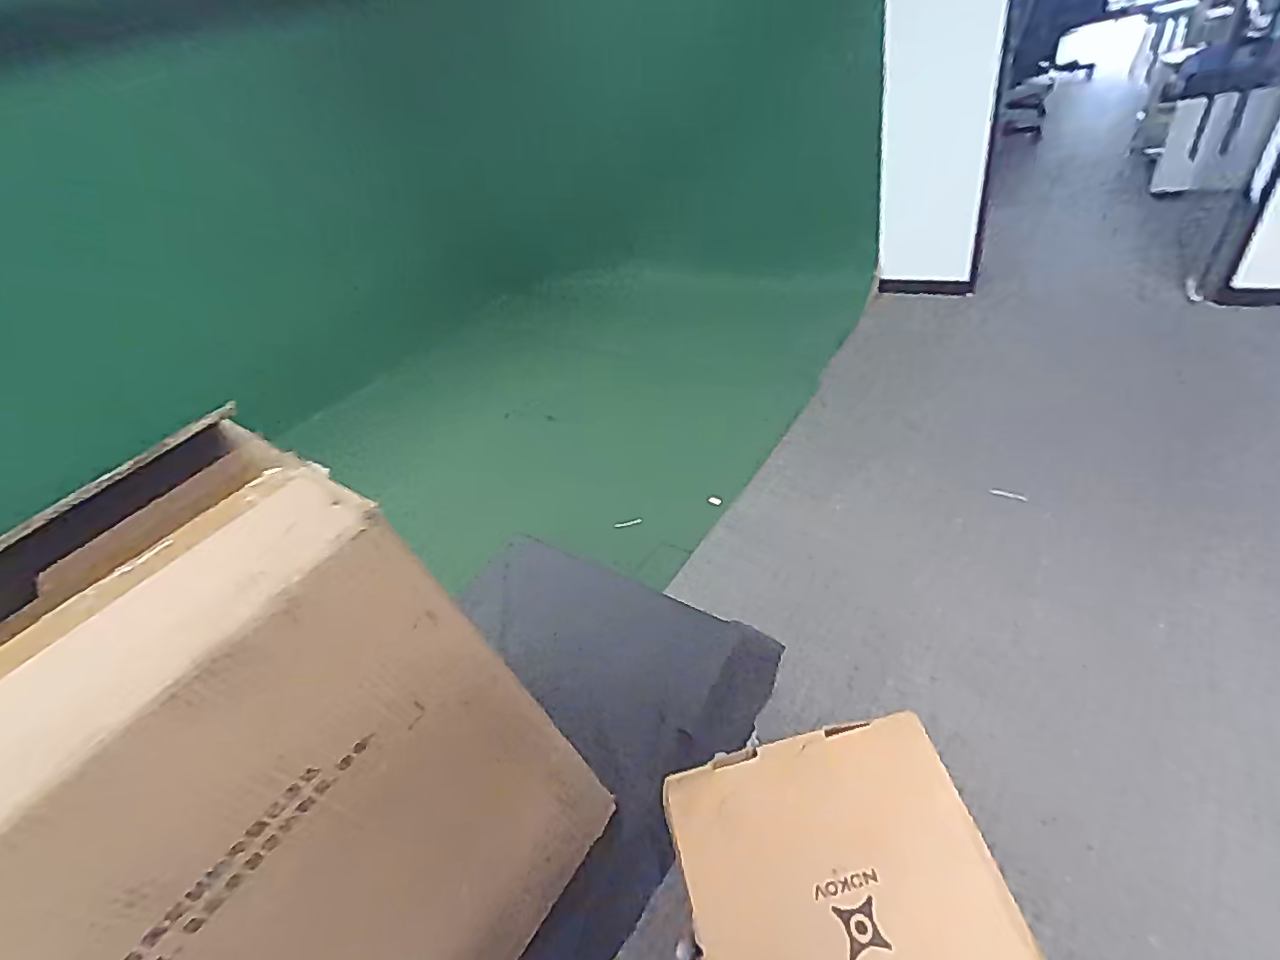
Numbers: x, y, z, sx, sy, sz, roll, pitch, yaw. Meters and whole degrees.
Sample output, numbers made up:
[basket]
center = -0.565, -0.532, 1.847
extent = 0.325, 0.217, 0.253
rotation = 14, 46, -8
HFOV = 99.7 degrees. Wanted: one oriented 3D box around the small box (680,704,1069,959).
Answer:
[small box]
center = 0.126, 0.272, 0.346
extent = 0.168, 0.176, 0.179
rotation = -14, 54, -6
